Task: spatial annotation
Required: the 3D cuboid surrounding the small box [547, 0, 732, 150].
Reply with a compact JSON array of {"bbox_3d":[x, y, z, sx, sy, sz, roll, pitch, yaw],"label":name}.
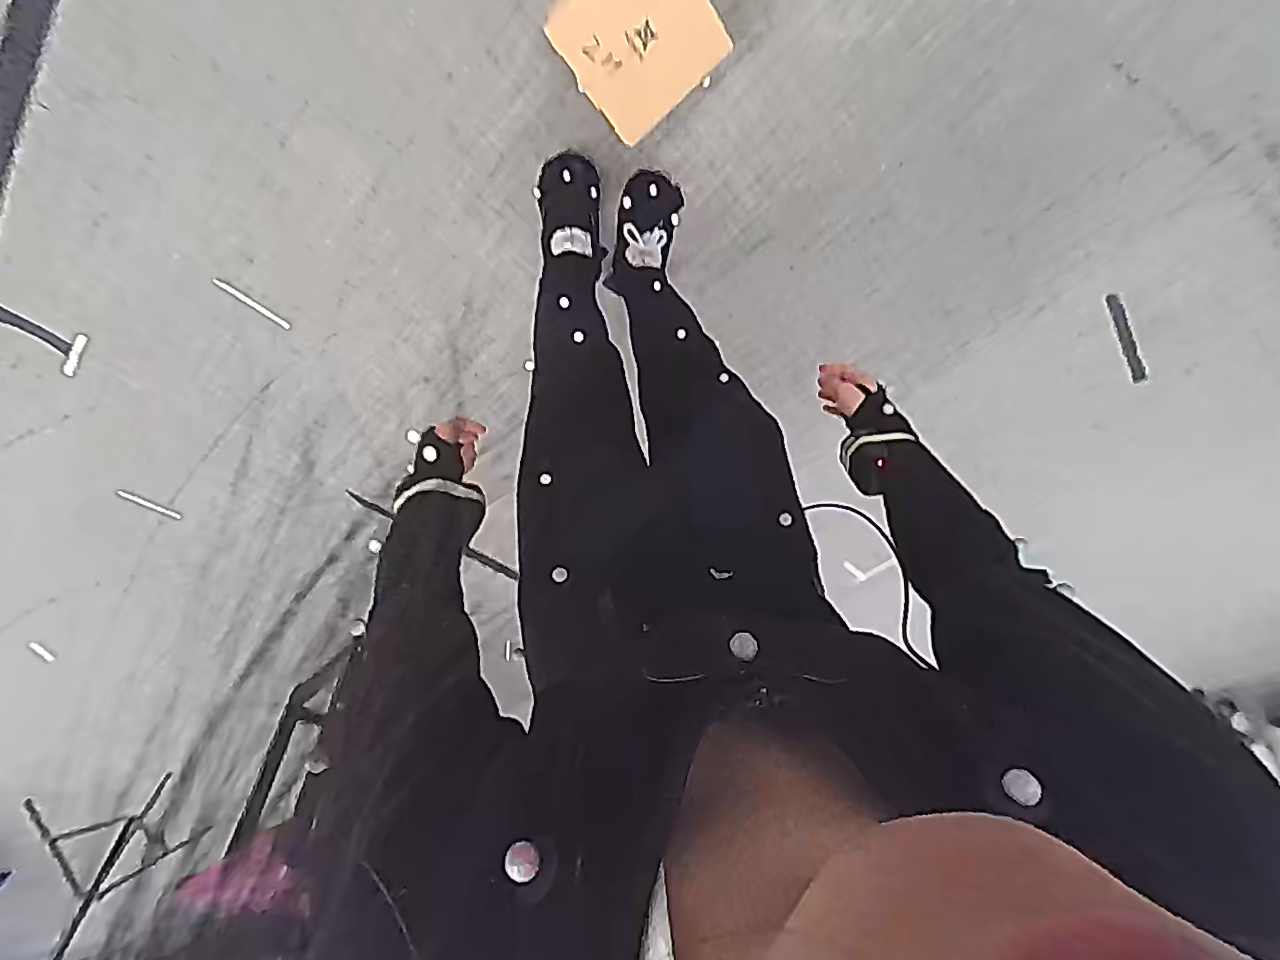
[{"bbox_3d":[-0.005,-0.593,0.722,0.179,0.176,0.168,-32,128,23],"label":"small box"}]
